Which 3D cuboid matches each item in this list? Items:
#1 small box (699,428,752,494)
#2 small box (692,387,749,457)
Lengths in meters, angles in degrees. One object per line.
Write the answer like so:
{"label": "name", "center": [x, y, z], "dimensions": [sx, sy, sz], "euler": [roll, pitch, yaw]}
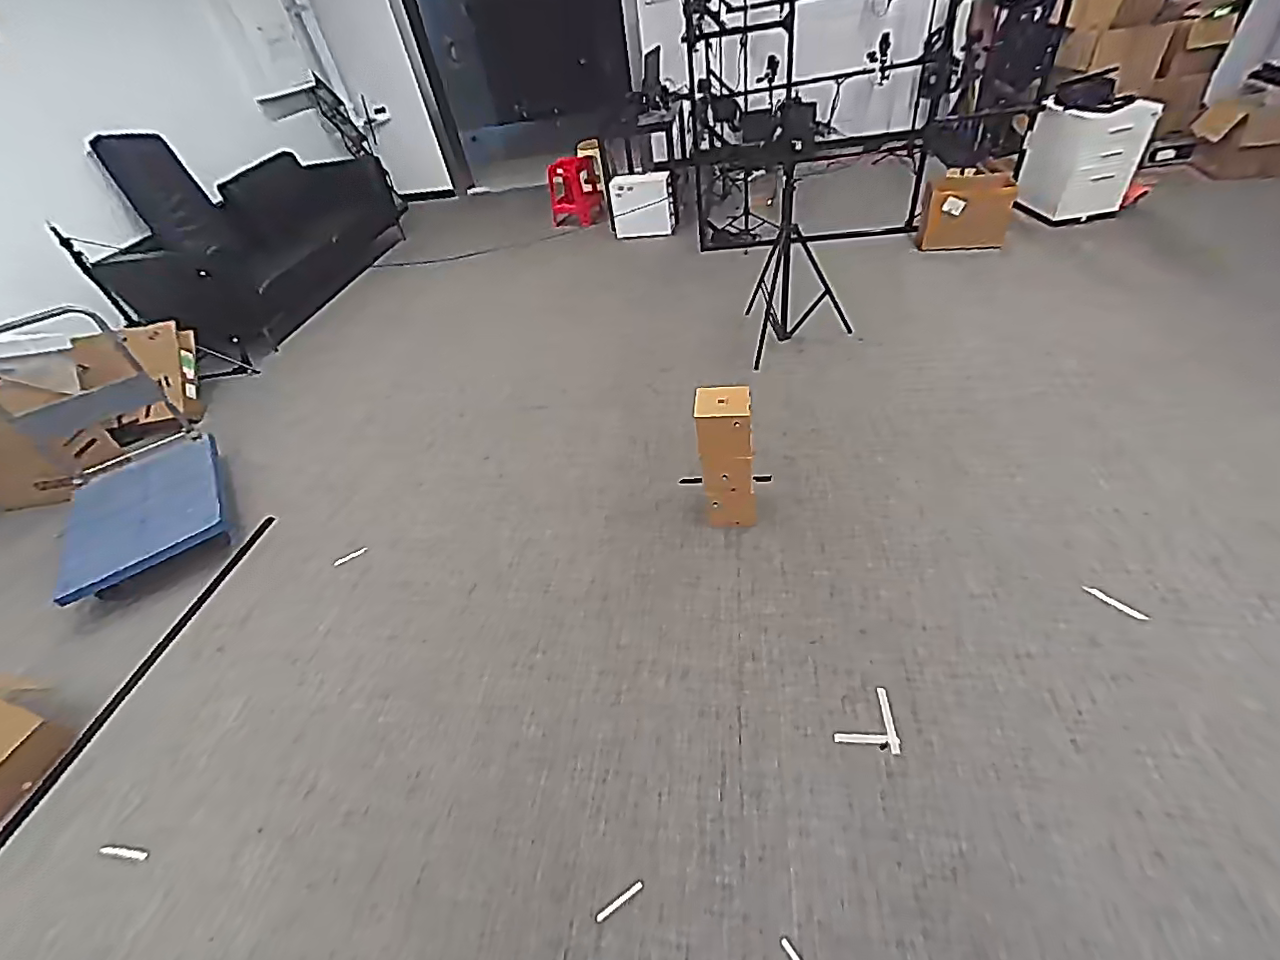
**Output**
{"label": "small box", "center": [0.303, -0.066, 1.888], "dimensions": [0.168, 0.176, 0.179], "euler": [2, 43, 14]}
{"label": "small box", "center": [0.269, -0.187, 1.784], "dimensions": [0.179, 0.176, 0.168], "euler": [-1, 43, 11]}
